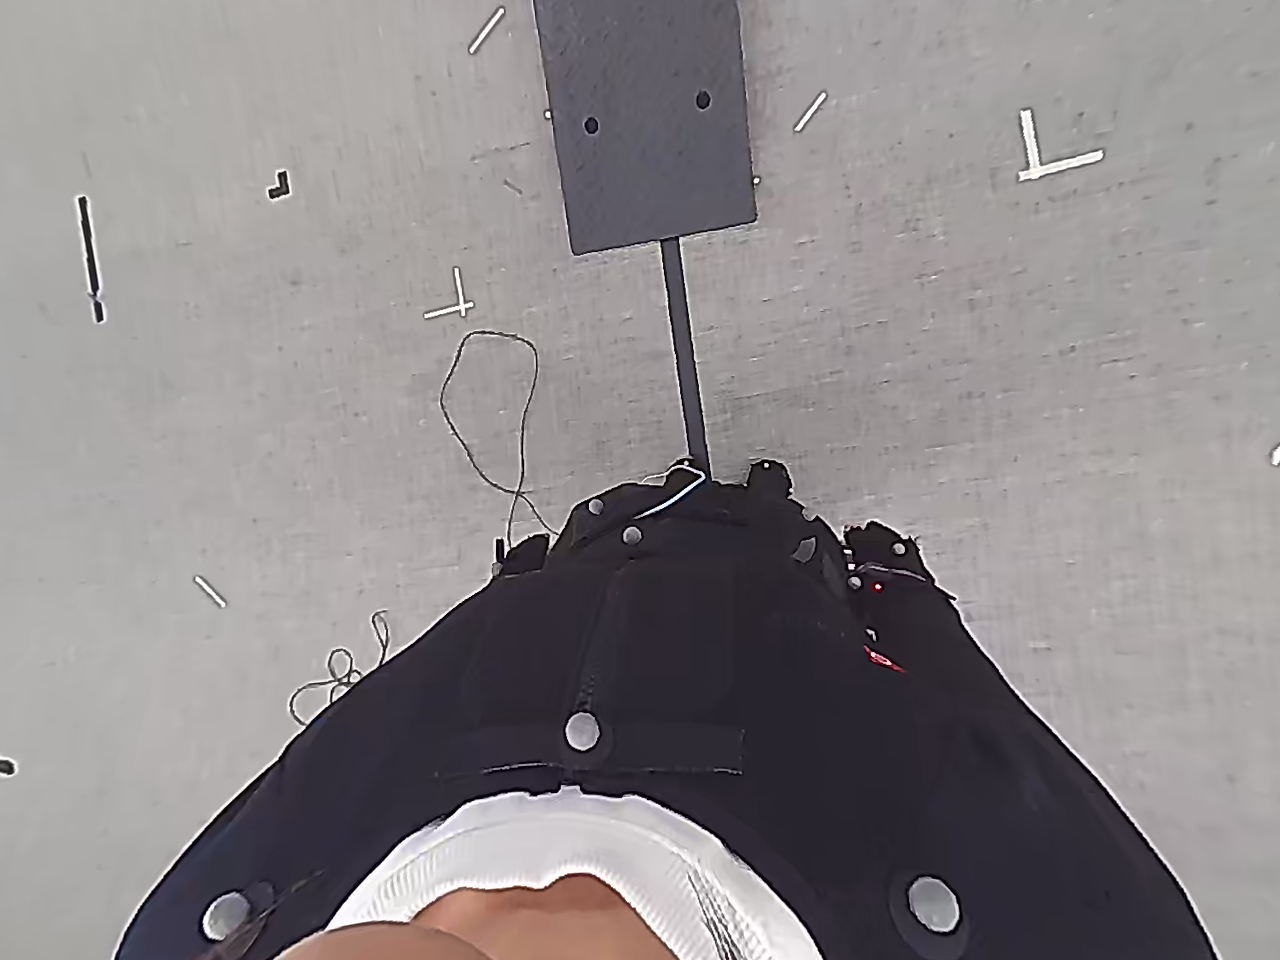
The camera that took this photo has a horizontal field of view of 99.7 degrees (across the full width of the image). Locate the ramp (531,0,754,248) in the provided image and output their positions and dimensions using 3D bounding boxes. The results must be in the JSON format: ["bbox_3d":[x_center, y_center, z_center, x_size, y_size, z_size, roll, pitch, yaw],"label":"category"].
[{"bbox_3d":[-0.016,-1.127,1.304,0.509,0.206,0.991,-8,93,10],"label":"ramp"}]
